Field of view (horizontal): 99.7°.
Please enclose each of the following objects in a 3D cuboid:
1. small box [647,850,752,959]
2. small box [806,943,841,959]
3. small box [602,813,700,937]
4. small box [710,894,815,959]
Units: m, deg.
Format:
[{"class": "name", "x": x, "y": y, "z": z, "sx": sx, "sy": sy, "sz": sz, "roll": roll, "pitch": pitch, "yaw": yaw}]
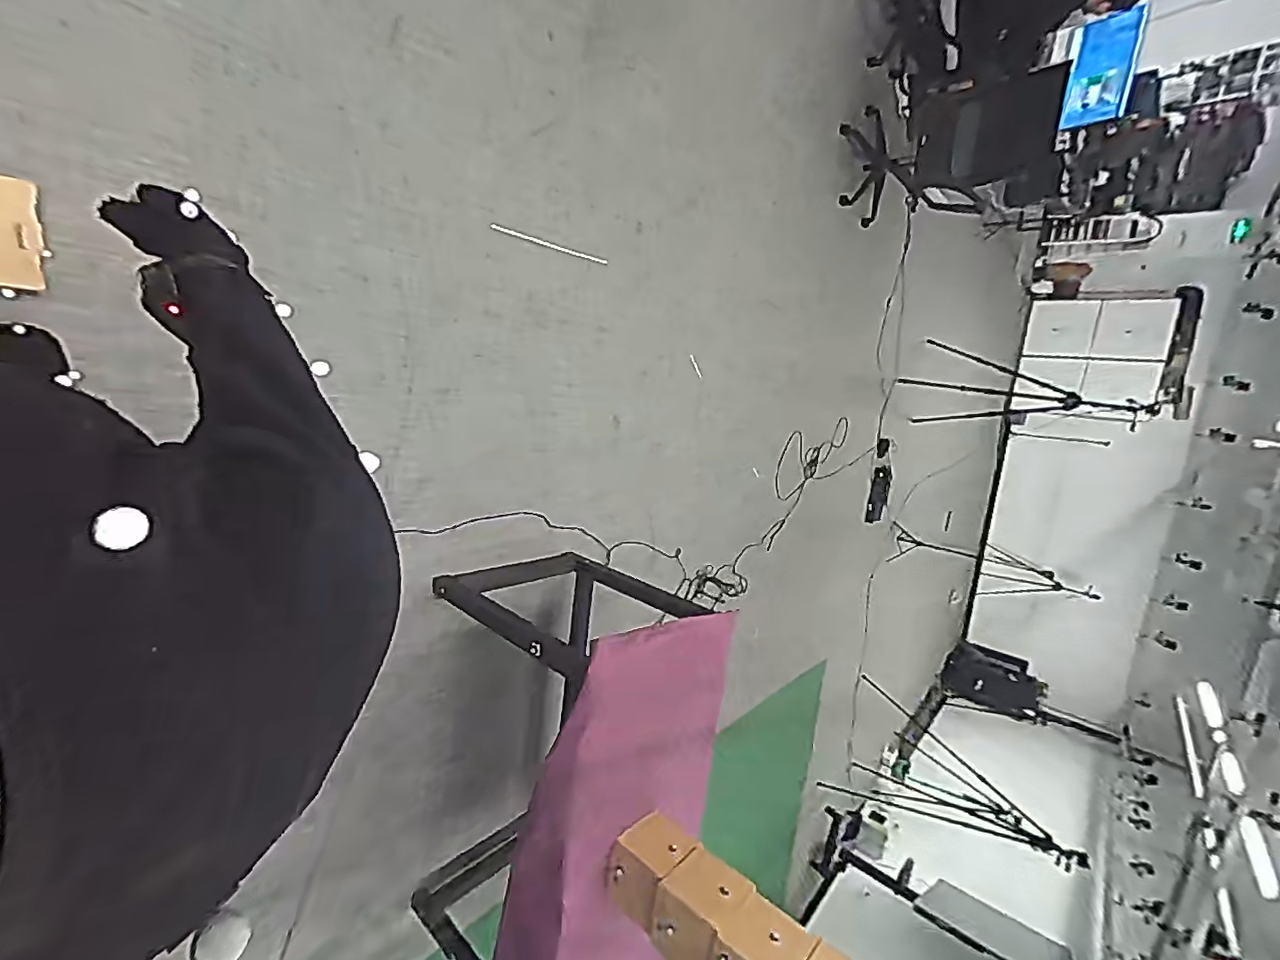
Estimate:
[{"class": "small box", "x": 0.142, "y": 1.038, "z": 1.291, "sx": 0.179, "sy": 0.176, "sz": 0.168, "roll": 0, "pitch": 99, "yaw": -50}, {"class": "small box", "x": 0.385, "y": 1.098, "z": 1.080, "sx": 0.179, "sy": 0.176, "sz": 0.168, "roll": 3, "pitch": 97, "yaw": -51}, {"class": "small box", "x": 0.029, "y": 1.014, "z": 1.408, "sx": 0.179, "sy": 0.176, "sz": 0.168, "roll": 3, "pitch": 97, "yaw": -49}, {"class": "small box", "x": 0.259, "y": 1.071, "z": 1.180, "sx": 0.179, "sy": 0.176, "sz": 0.168, "roll": 1, "pitch": 99, "yaw": -51}]
